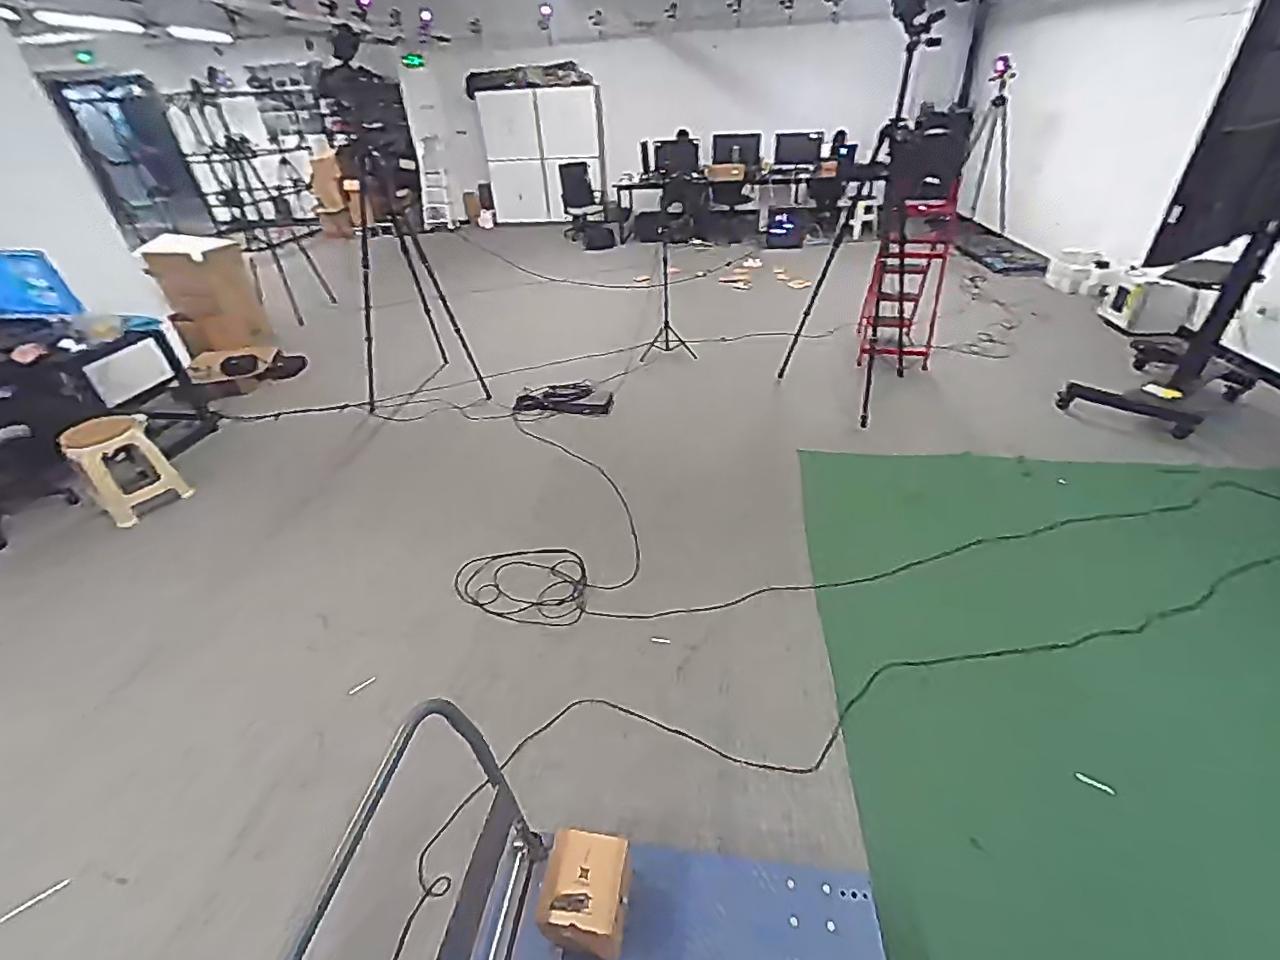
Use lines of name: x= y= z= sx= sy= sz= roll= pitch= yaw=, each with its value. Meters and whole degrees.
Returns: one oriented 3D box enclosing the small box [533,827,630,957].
small box: x=-0.118 y=0.905 z=1.186 sx=0.168 sy=0.176 sz=0.179 roll=4 pitch=35 yaw=10
